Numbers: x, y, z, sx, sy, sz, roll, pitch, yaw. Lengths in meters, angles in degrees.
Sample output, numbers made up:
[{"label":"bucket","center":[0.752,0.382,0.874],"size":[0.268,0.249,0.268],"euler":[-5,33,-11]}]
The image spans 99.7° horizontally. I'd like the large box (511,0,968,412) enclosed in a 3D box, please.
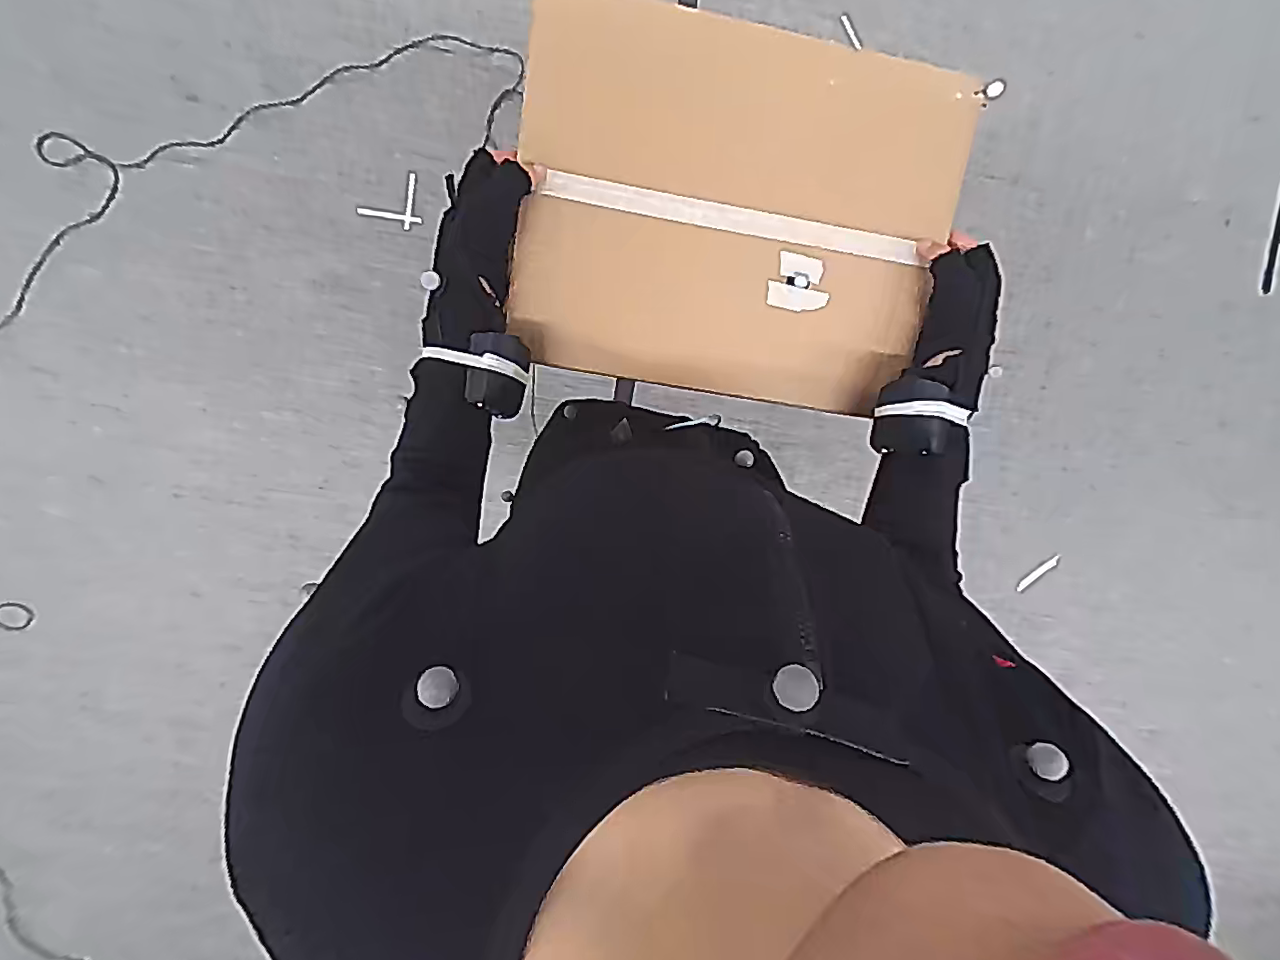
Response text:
[{"label":"large box","center":[0.077,-0.273,0.656],"size":[0.408,0.320,0.320],"euler":[8,102,-7]}]
